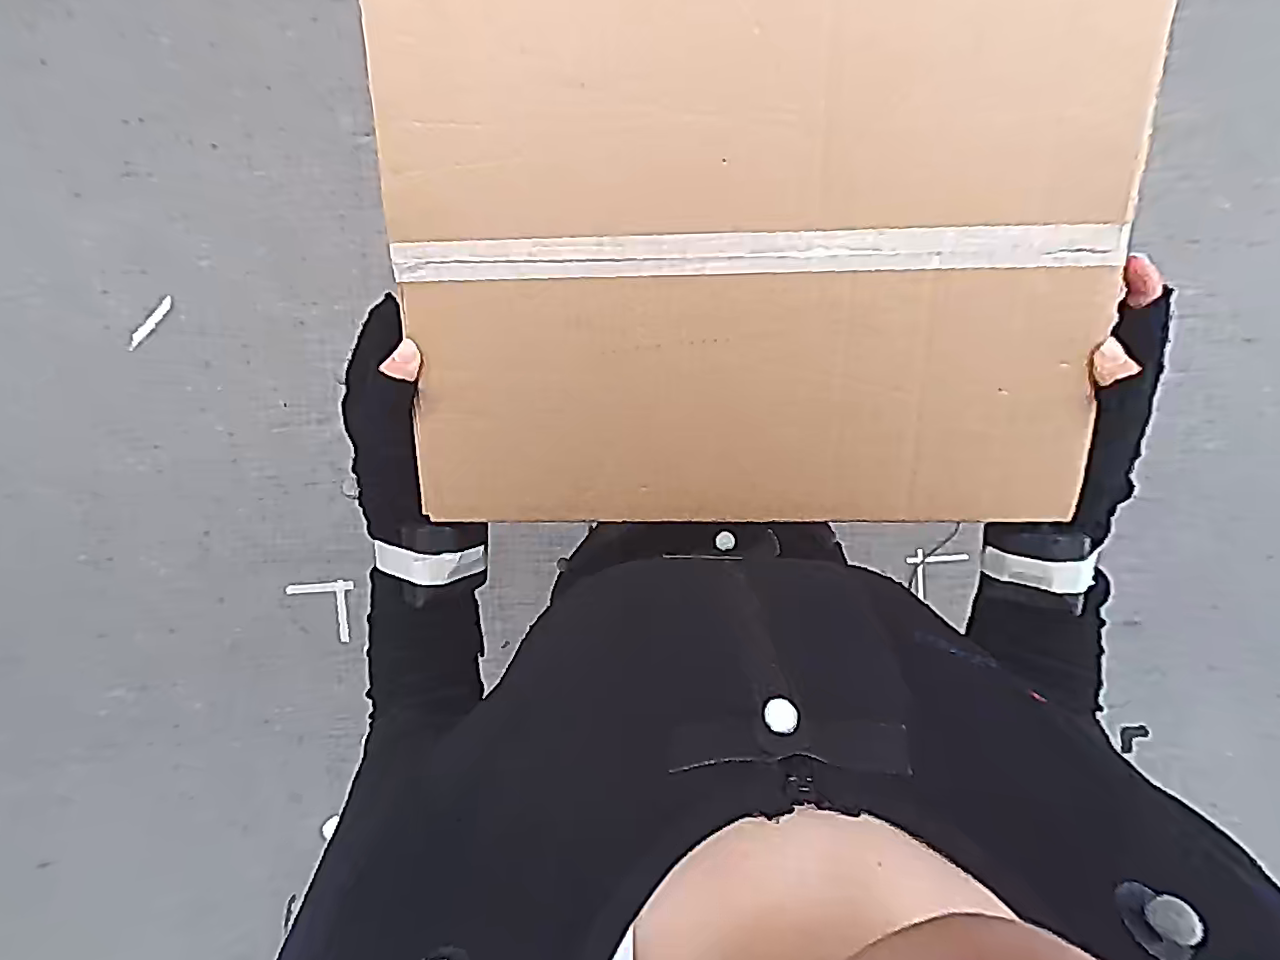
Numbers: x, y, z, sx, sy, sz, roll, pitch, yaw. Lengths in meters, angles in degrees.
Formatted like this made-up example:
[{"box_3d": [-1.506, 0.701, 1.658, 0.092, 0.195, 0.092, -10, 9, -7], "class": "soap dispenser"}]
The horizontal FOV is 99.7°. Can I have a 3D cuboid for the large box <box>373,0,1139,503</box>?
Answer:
[{"box_3d": [0.062, -0.175, 0.454, 0.408, 0.320, 0.320, 0, 106, 2], "class": "large box"}]
